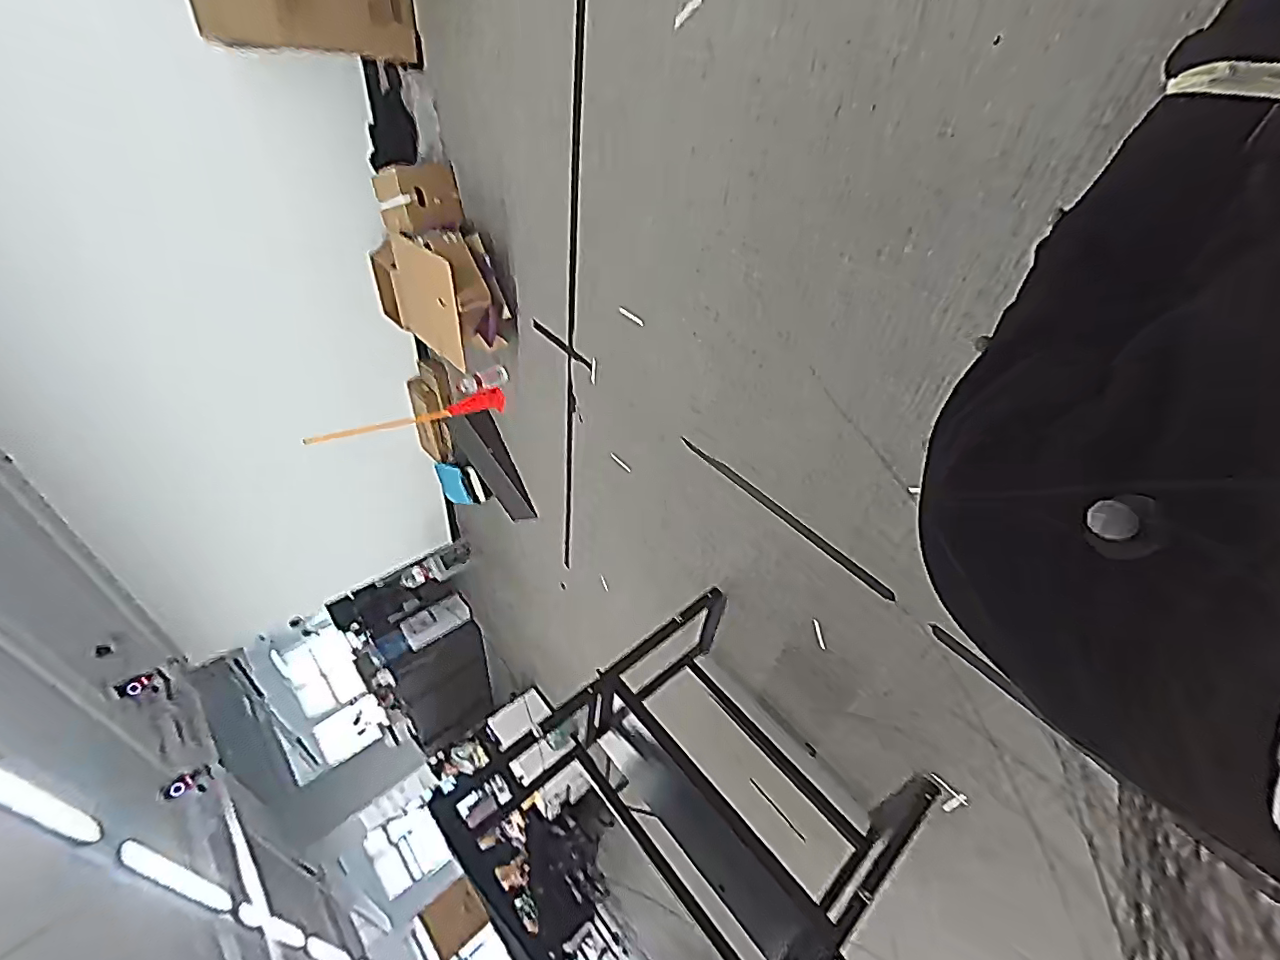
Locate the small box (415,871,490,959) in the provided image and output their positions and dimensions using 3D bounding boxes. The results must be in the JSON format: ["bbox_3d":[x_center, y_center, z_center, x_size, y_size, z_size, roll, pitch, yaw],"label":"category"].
[{"bbox_3d":[-0.590,1.393,1.723,0.168,0.176,0.179,44,143,25],"label":"small box"}]
